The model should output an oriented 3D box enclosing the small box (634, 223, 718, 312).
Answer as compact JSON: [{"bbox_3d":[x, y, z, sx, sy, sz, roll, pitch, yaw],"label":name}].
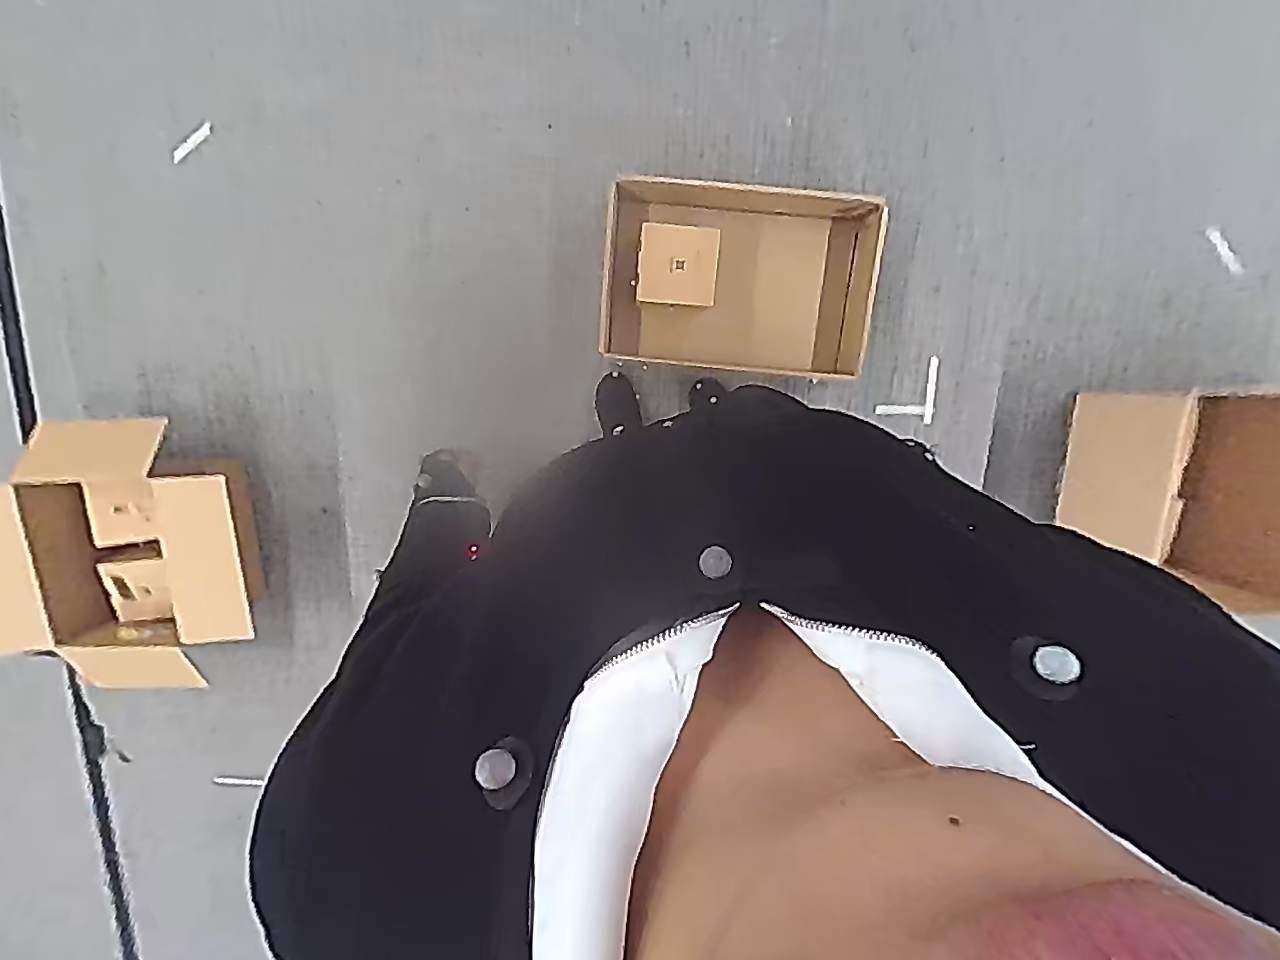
[{"bbox_3d":[0.078,-0.491,1.271,0.179,0.176,0.168,4,103,-2],"label":"small box"}]
